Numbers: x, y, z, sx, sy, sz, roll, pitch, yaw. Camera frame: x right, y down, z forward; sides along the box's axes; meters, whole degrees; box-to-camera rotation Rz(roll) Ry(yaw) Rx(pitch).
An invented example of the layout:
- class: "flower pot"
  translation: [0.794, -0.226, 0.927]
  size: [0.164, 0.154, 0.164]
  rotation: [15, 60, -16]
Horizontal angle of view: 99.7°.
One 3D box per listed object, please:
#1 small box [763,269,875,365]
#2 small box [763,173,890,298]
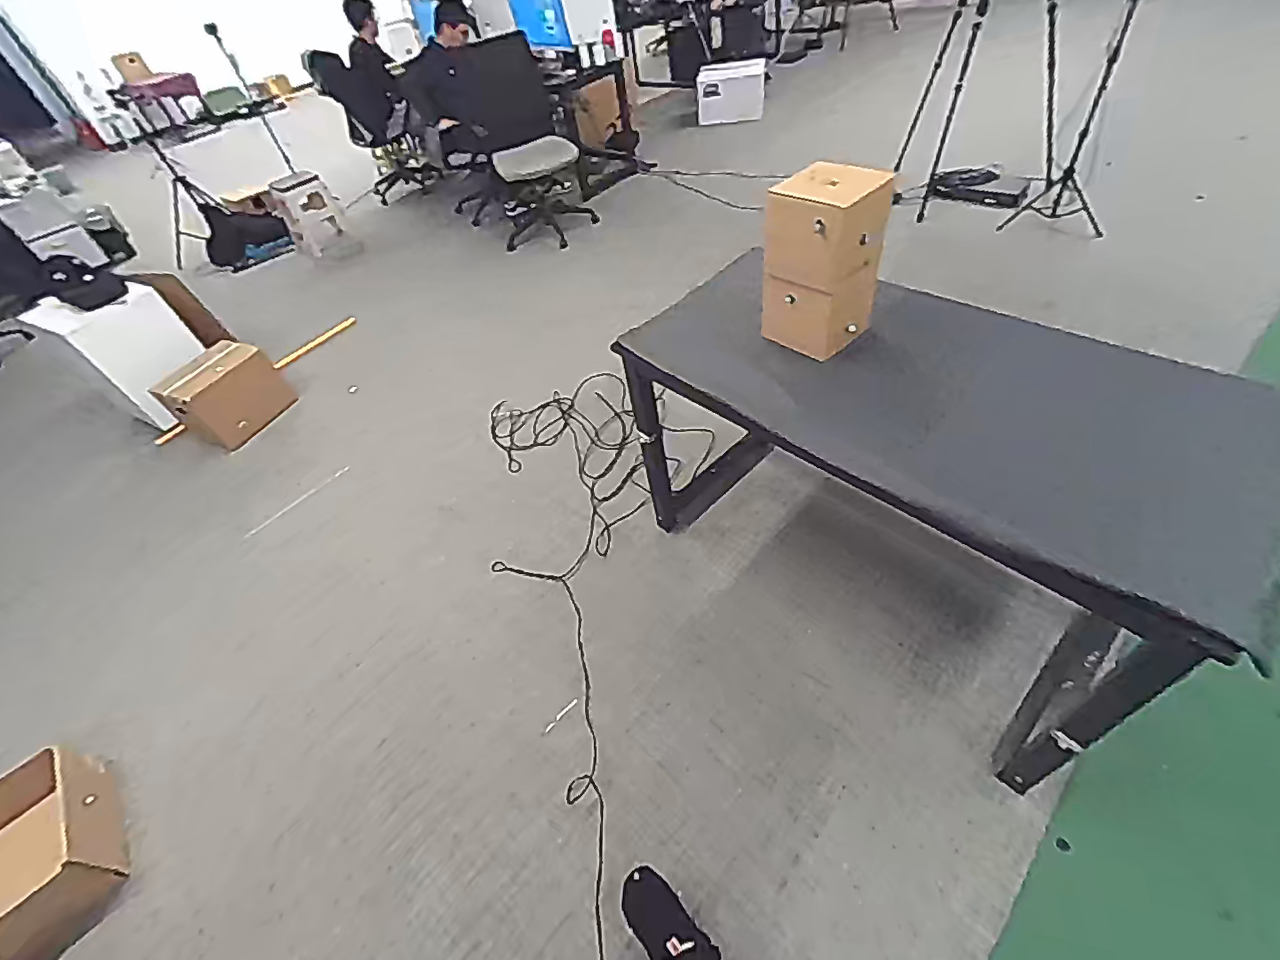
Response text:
- class: "small box"
  translation: [0.393, -0.386, 1.221]
  size: [0.168, 0.176, 0.179]
  rotation: [-36, 51, -22]
- class: "small box"
  translation: [0.369, -0.492, 1.097]
  size: [0.168, 0.176, 0.179]
  rotation: [-37, 51, -23]
